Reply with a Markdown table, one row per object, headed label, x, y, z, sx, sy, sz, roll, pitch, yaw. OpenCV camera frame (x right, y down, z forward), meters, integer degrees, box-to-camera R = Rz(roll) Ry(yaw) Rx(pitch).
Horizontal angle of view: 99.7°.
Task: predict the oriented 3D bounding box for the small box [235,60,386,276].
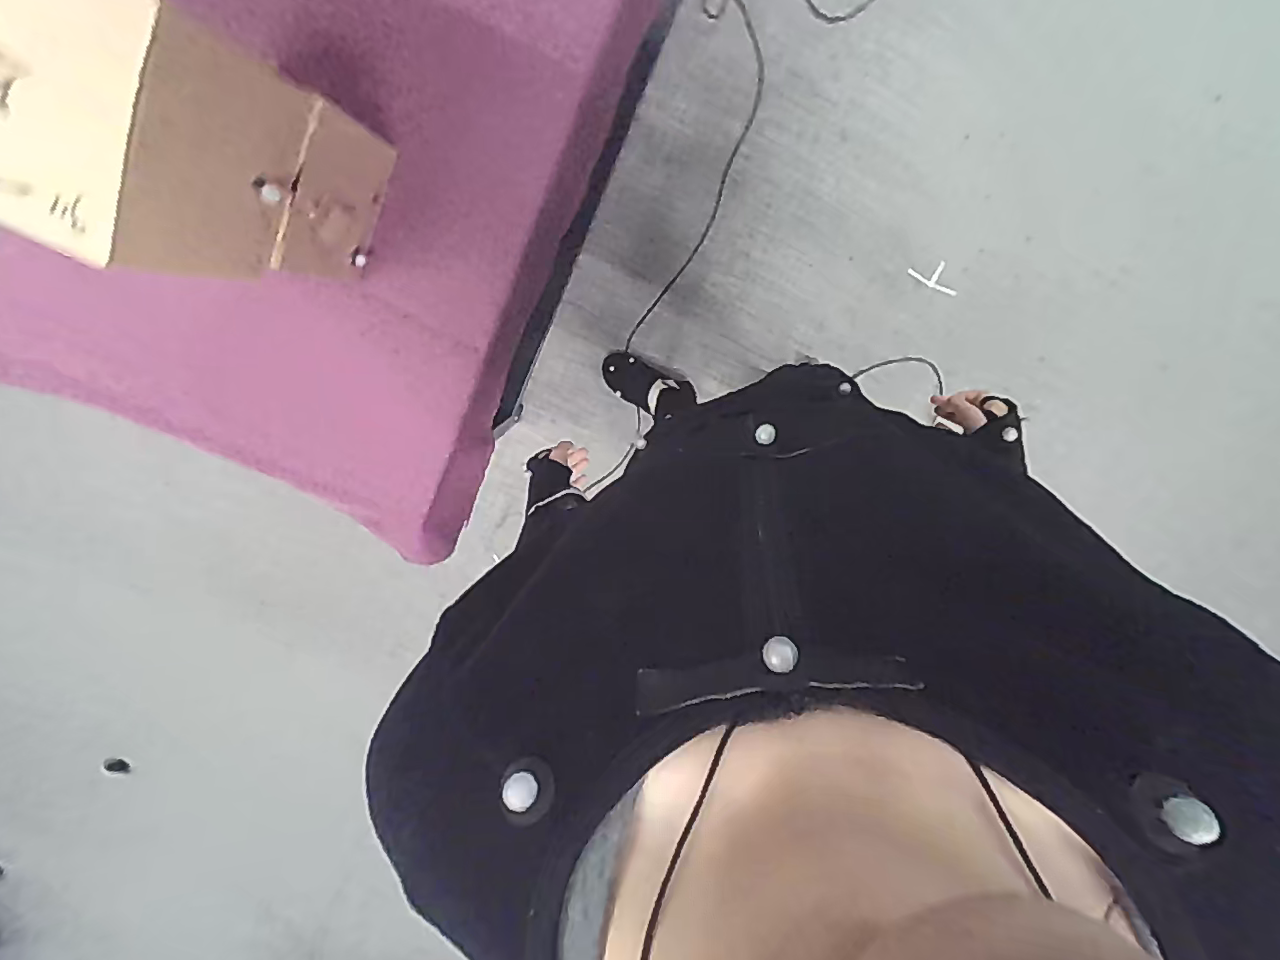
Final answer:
| label | x | y | z | sx | sy | sz | roll | pitch | yaw |
| --- | --- | --- | --- | --- | --- | --- | --- | --- | --- |
| small box | -0.404 | -0.331 | 0.575 | 0.179 | 0.176 | 0.168 | 24 | 105 | -7 |

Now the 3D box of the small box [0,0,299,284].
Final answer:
| label | x | y | z | sx | sy | sz | roll | pitch | yaw |
| --- | --- | --- | --- | --- | --- | --- | --- | --- | --- |
| small box | -0.406 | -0.273 | 0.421 | 0.168 | 0.176 | 0.179 | 25 | 104 | -7 |
